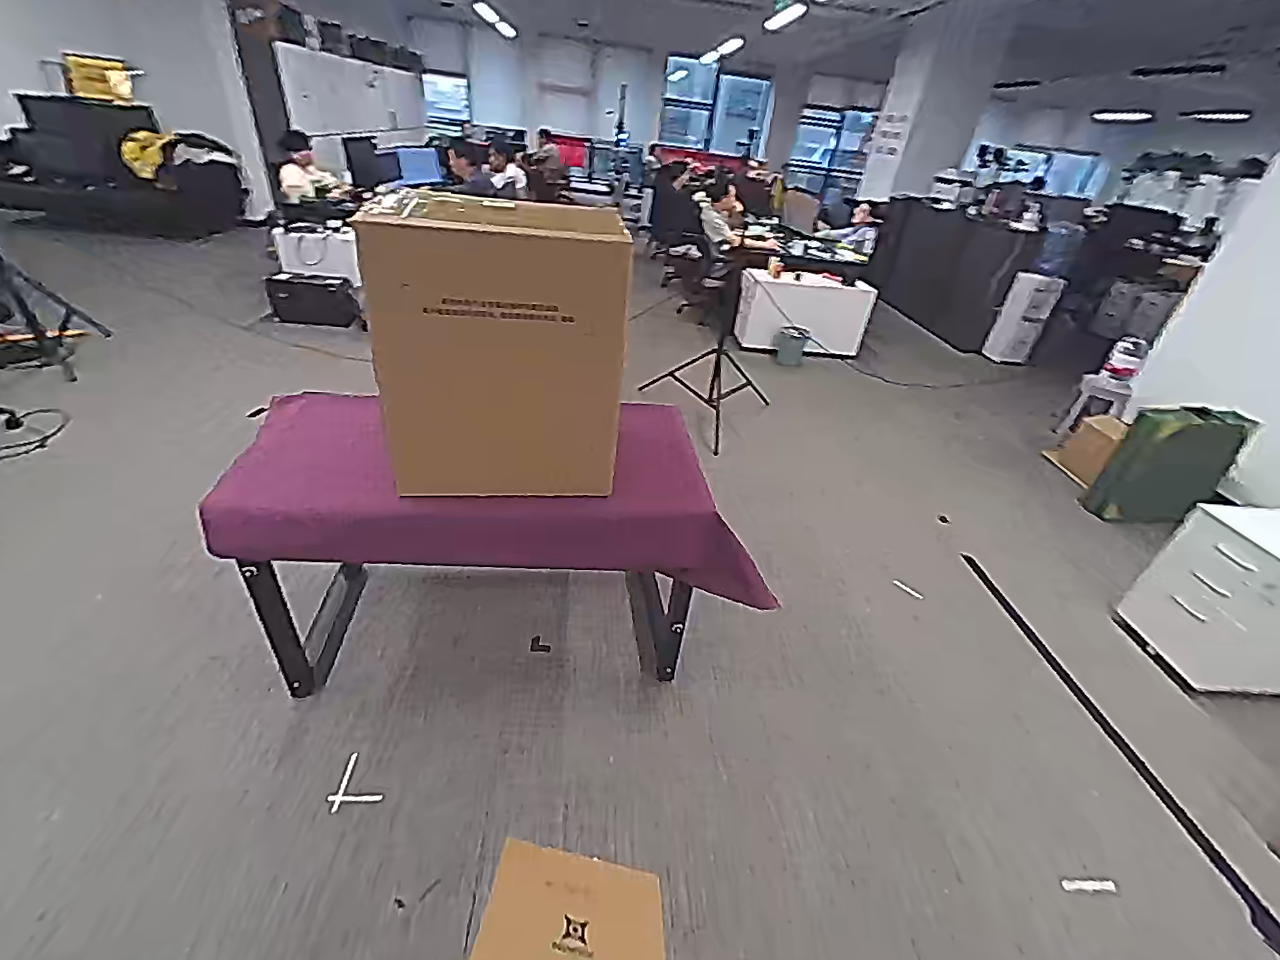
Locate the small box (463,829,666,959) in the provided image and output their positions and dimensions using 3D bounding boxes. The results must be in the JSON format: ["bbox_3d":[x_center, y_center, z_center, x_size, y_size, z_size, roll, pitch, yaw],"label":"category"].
[{"bbox_3d":[-0.079,0.459,0.470,0.168,0.176,0.179,17,3,-4],"label":"small box"}]
